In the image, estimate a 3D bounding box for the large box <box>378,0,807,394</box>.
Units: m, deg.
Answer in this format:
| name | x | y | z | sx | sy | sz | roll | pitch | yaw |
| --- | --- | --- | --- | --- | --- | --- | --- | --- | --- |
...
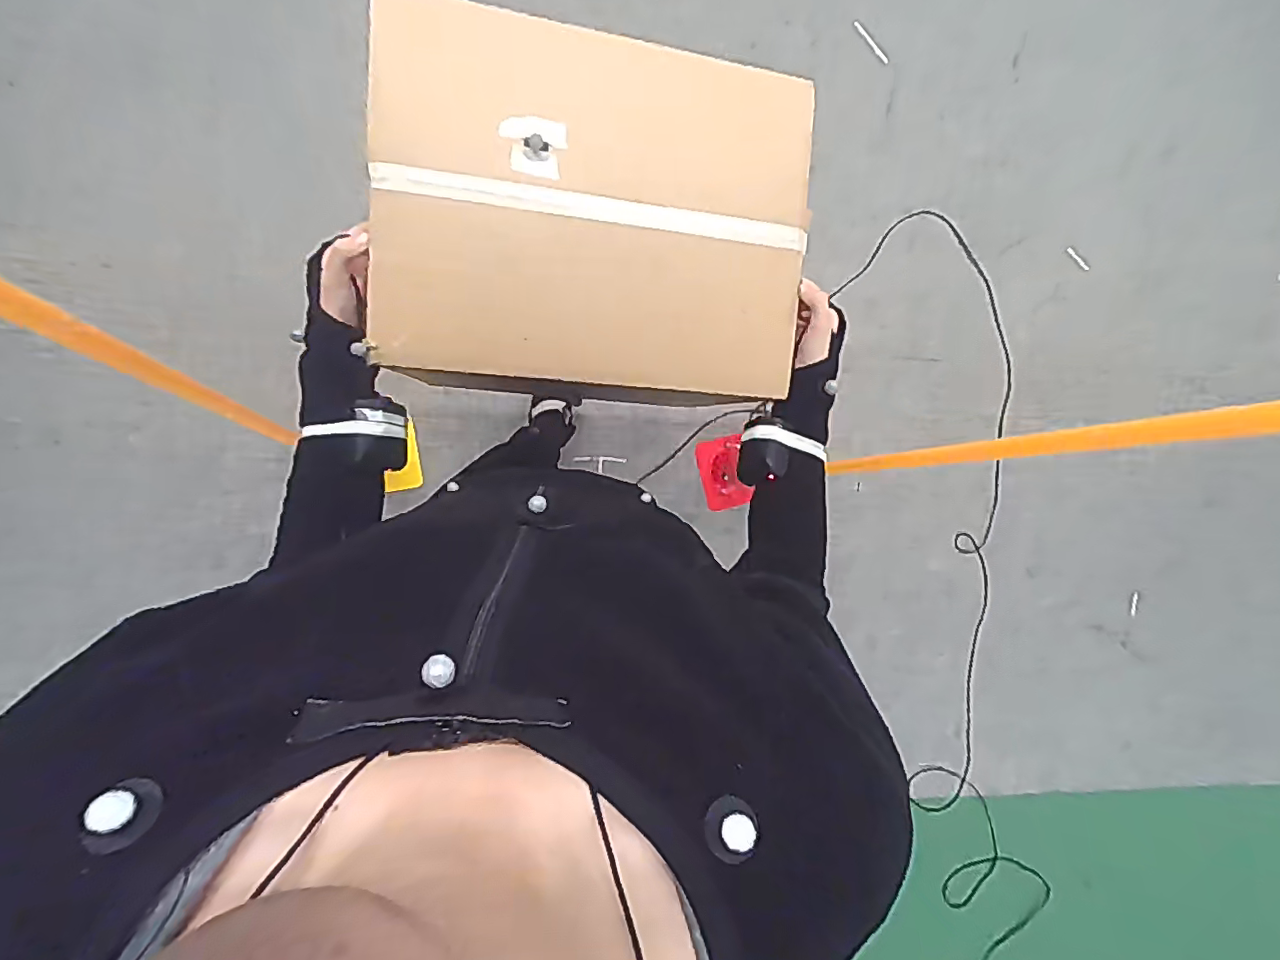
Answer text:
| name | x | y | z | sx | sy | sz | roll | pitch | yaw |
| --- | --- | --- | --- | --- | --- | --- | --- | --- | --- |
| large box | -0.063 | -0.272 | 0.659 | 0.408 | 0.320 | 0.320 | 3 | 96 | -12 |
